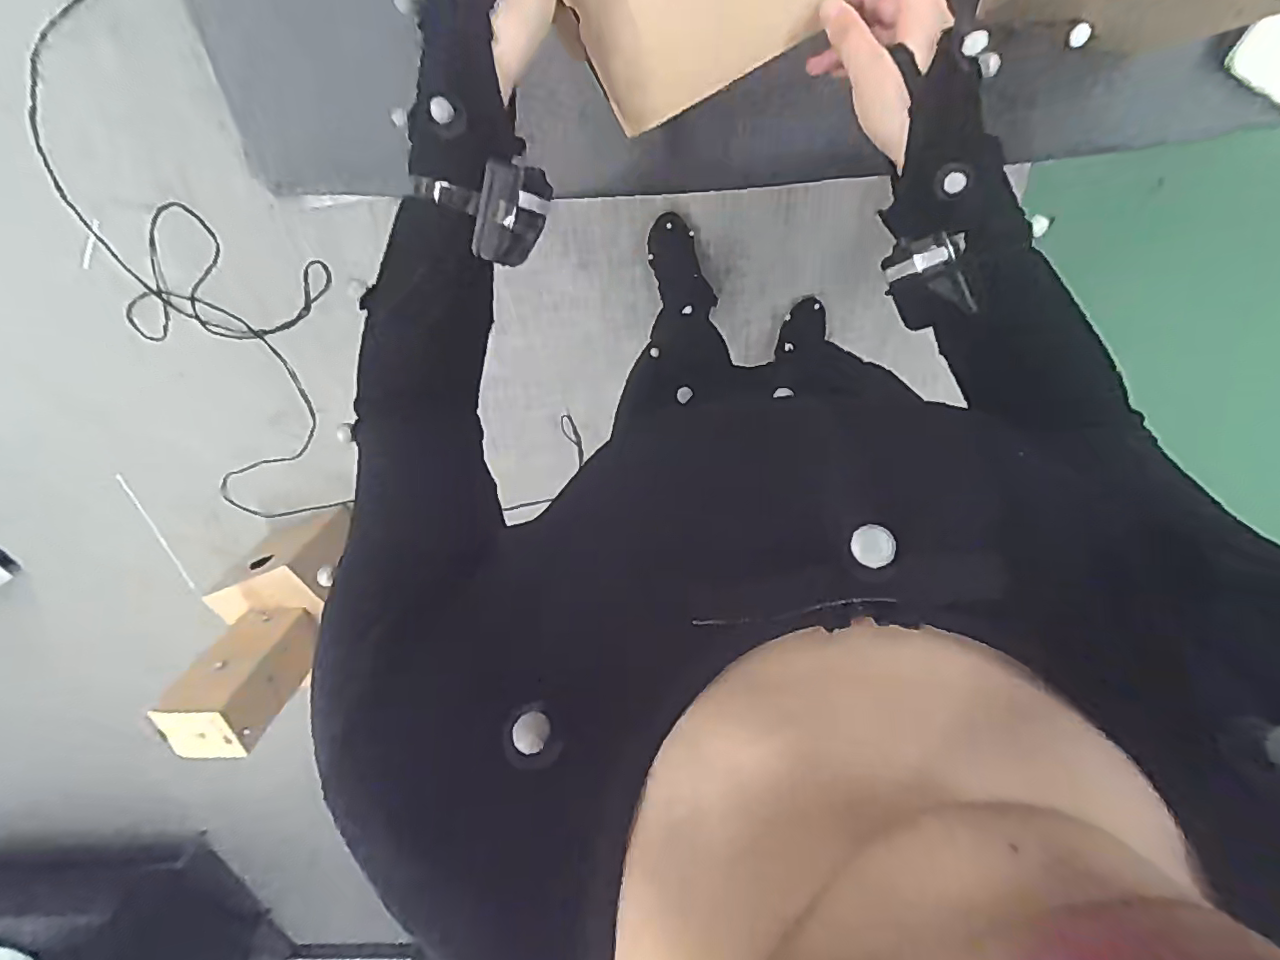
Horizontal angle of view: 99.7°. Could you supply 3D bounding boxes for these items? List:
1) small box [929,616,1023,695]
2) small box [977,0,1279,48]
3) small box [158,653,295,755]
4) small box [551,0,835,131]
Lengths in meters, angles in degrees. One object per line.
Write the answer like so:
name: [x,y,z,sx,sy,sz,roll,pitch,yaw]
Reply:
small box: [1.070,0.561,1.741,0.179,0.176,0.168,6,121,-1]
small box: [0.395,-0.459,0.400,0.168,0.176,0.179,10,119,-3]
small box: [-1.004,0.545,1.330,0.179,0.176,0.168,-1,120,5]
small box: [0.021,-0.403,0.388,0.179,0.176,0.168,-19,138,21]
